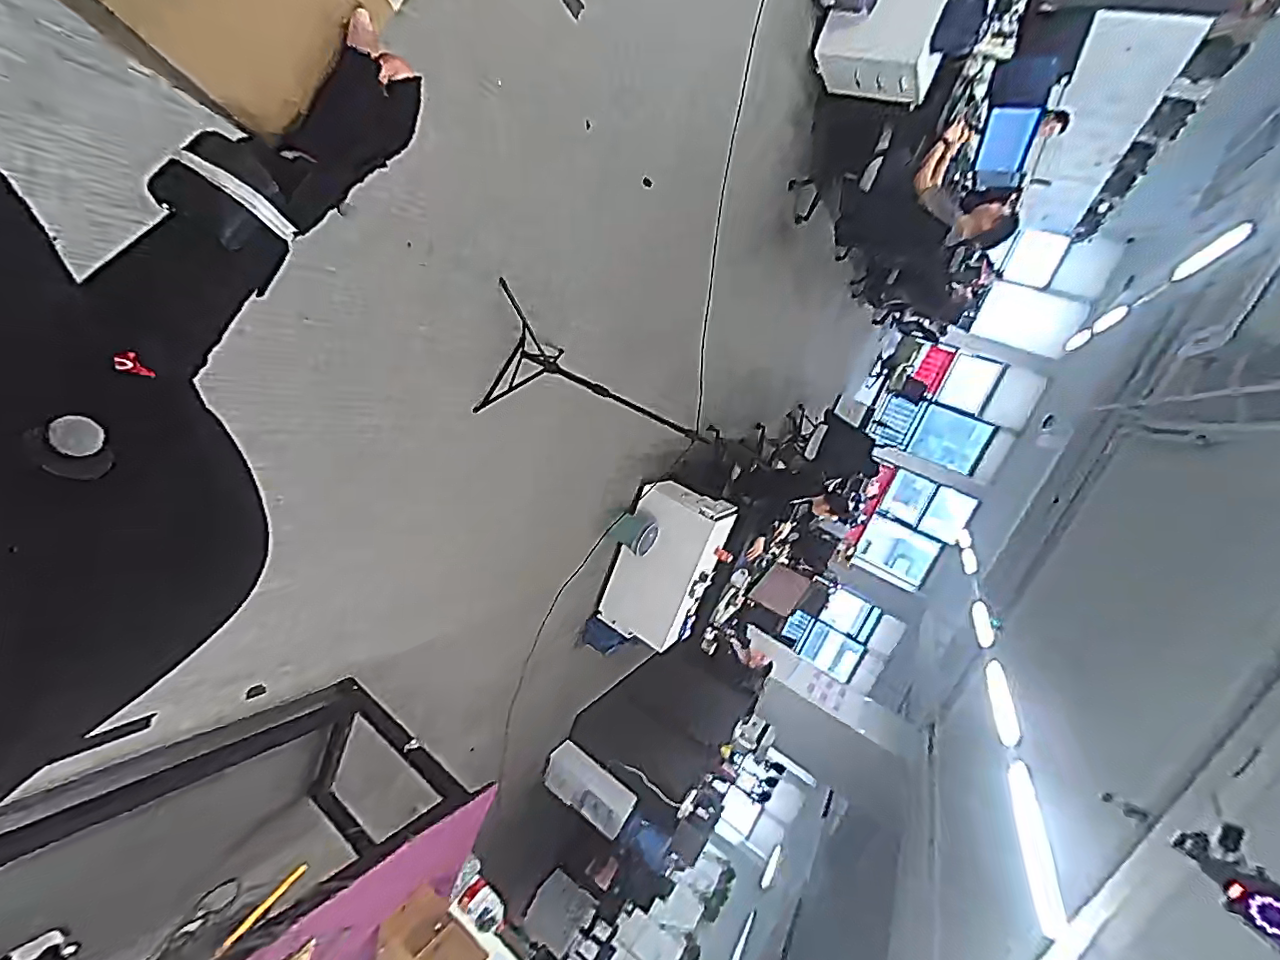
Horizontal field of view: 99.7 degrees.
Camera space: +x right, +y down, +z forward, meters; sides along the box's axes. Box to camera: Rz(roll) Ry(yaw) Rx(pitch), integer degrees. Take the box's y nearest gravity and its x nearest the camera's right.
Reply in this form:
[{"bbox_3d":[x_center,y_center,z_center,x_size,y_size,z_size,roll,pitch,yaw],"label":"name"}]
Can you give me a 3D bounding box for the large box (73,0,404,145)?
[{"bbox_3d":[-0.360,-0.514,0.304,0.320,0.320,0.408,-51,159,-2],"label":"large box"}]
